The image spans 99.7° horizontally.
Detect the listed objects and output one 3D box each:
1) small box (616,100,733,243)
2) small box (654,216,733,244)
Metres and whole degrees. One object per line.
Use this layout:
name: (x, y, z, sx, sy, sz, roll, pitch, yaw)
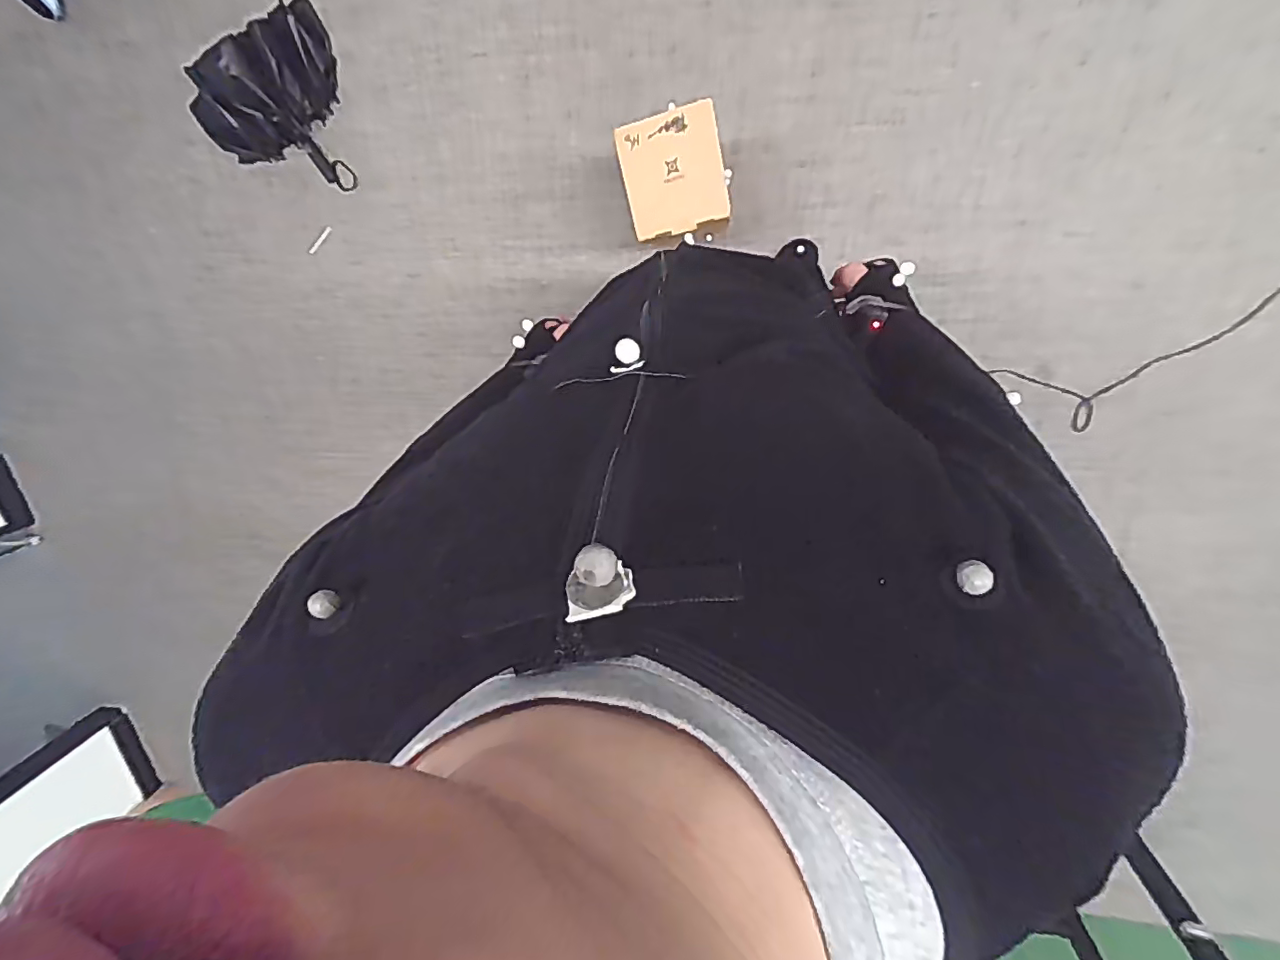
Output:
small box: (0.071, -0.534, 0.960, 0.168, 0.176, 0.179, -9, 111, 14)
small box: (0.094, -0.595, 1.108, 0.168, 0.176, 0.179, -9, 111, 13)
